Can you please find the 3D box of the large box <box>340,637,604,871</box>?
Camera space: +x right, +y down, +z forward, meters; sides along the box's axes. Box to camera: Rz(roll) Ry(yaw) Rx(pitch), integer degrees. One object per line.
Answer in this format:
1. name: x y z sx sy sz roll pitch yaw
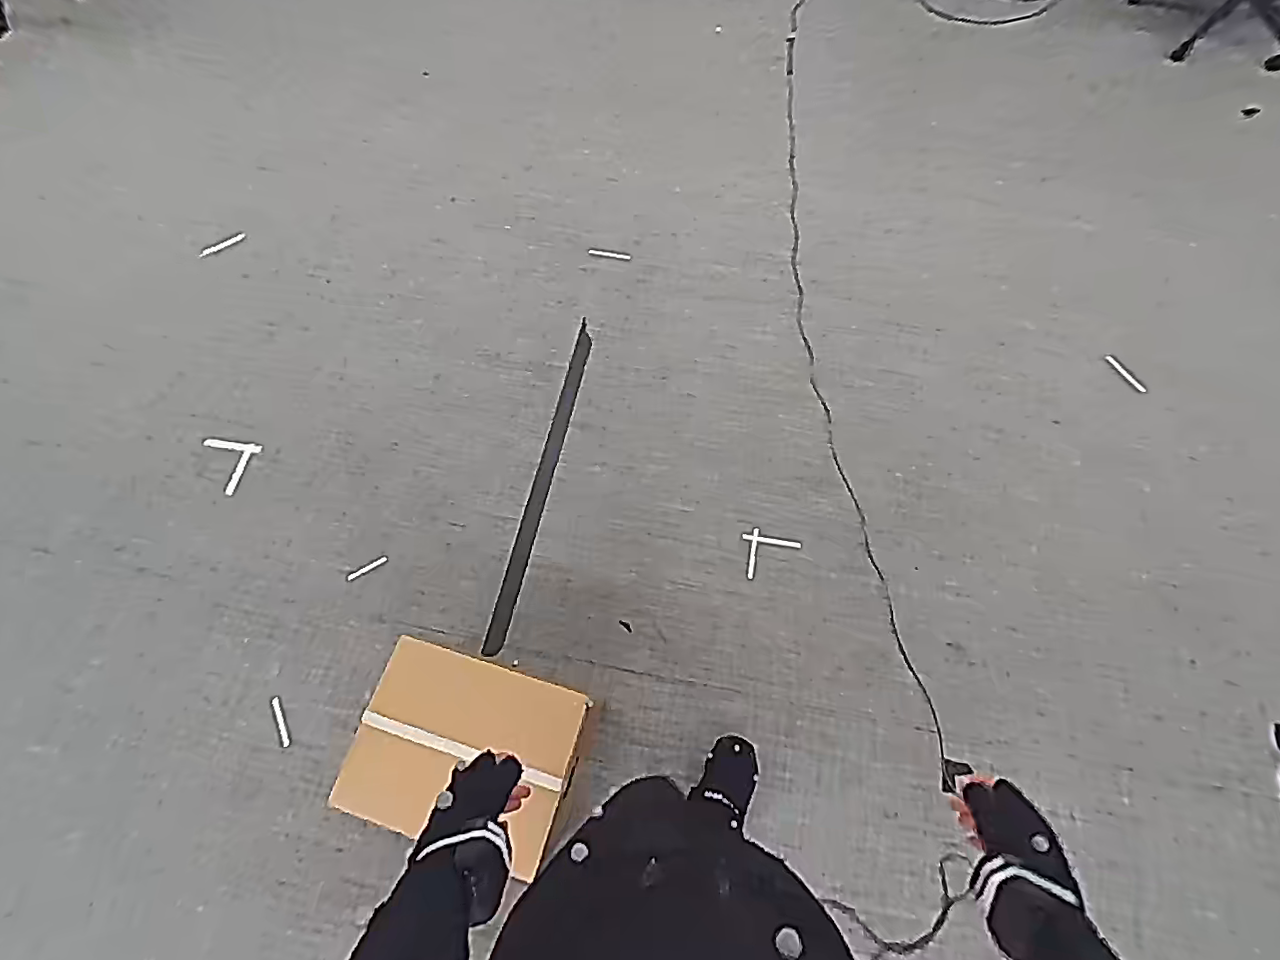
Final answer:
1. large box: -0.319 0.554 1.154 0.408 0.320 0.320 16 70 6
